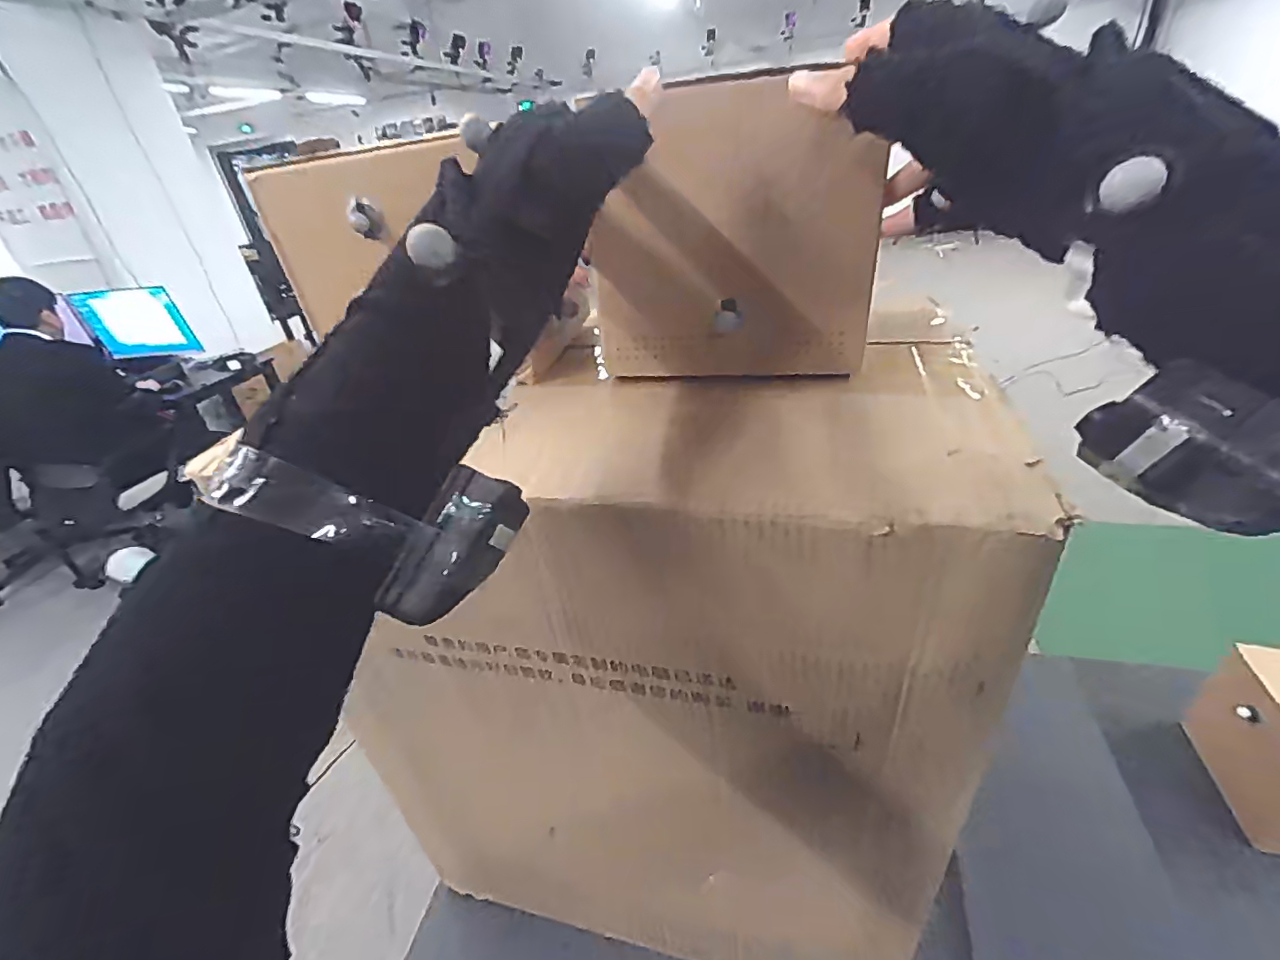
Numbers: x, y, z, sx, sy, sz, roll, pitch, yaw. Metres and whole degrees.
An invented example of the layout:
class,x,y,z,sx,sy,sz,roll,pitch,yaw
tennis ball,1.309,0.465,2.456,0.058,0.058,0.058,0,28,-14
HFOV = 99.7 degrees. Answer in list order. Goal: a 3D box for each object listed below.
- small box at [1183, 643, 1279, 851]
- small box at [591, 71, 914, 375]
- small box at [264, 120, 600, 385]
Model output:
class,x,y,z,sx,sy,sz,roll,pitch,yaw
small box,0.823,0.331,0.653,0.168,0.176,0.179,3,33,17
small box,0.076,-0.182,0.399,0.179,0.176,0.168,2,31,11
small box,-0.145,-0.187,0.450,0.179,0.176,0.168,1,36,12
